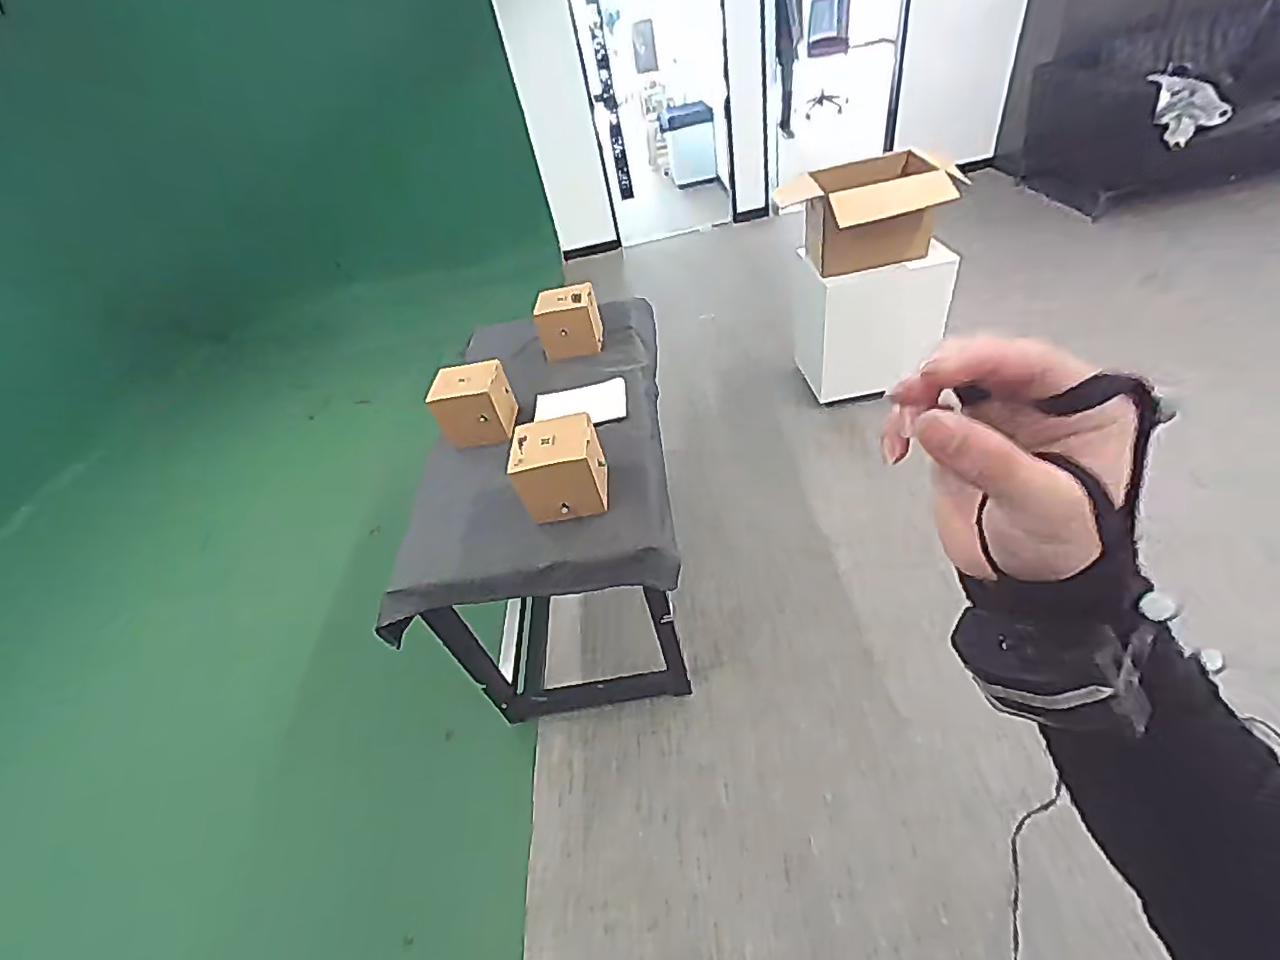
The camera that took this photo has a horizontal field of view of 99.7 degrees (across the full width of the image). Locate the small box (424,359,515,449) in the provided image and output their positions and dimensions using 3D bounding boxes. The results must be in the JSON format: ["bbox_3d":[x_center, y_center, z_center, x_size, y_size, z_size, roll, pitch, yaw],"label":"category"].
[{"bbox_3d":[-0.459,-0.208,1.489,0.179,0.176,0.168,-9,41,5],"label":"small box"}]

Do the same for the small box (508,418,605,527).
[{"bbox_3d":[-0.179,-0.014,1.227,0.179,0.176,0.168,-10,41,5],"label":"small box"}]

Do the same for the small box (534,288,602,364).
[{"bbox_3d":[-0.226,-0.498,1.760,0.179,0.176,0.168,-8,42,7],"label":"small box"}]
